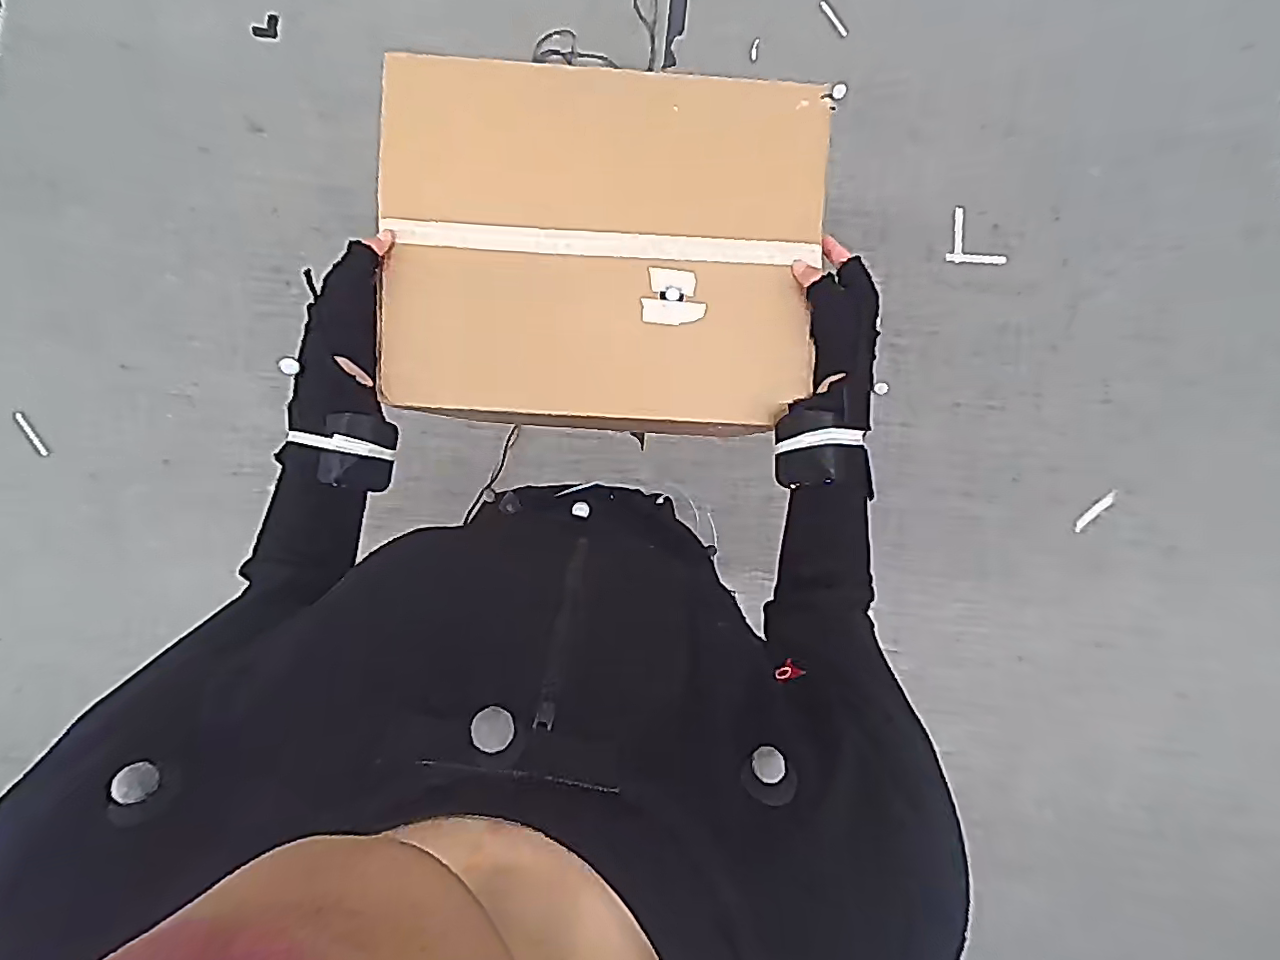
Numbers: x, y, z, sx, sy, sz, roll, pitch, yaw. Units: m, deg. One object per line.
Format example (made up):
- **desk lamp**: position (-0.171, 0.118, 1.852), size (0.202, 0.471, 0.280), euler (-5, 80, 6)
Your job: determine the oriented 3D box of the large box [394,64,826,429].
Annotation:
- **large box**: position (-0.035, -0.230, 0.659), size (0.408, 0.320, 0.320), euler (3, 94, -2)
